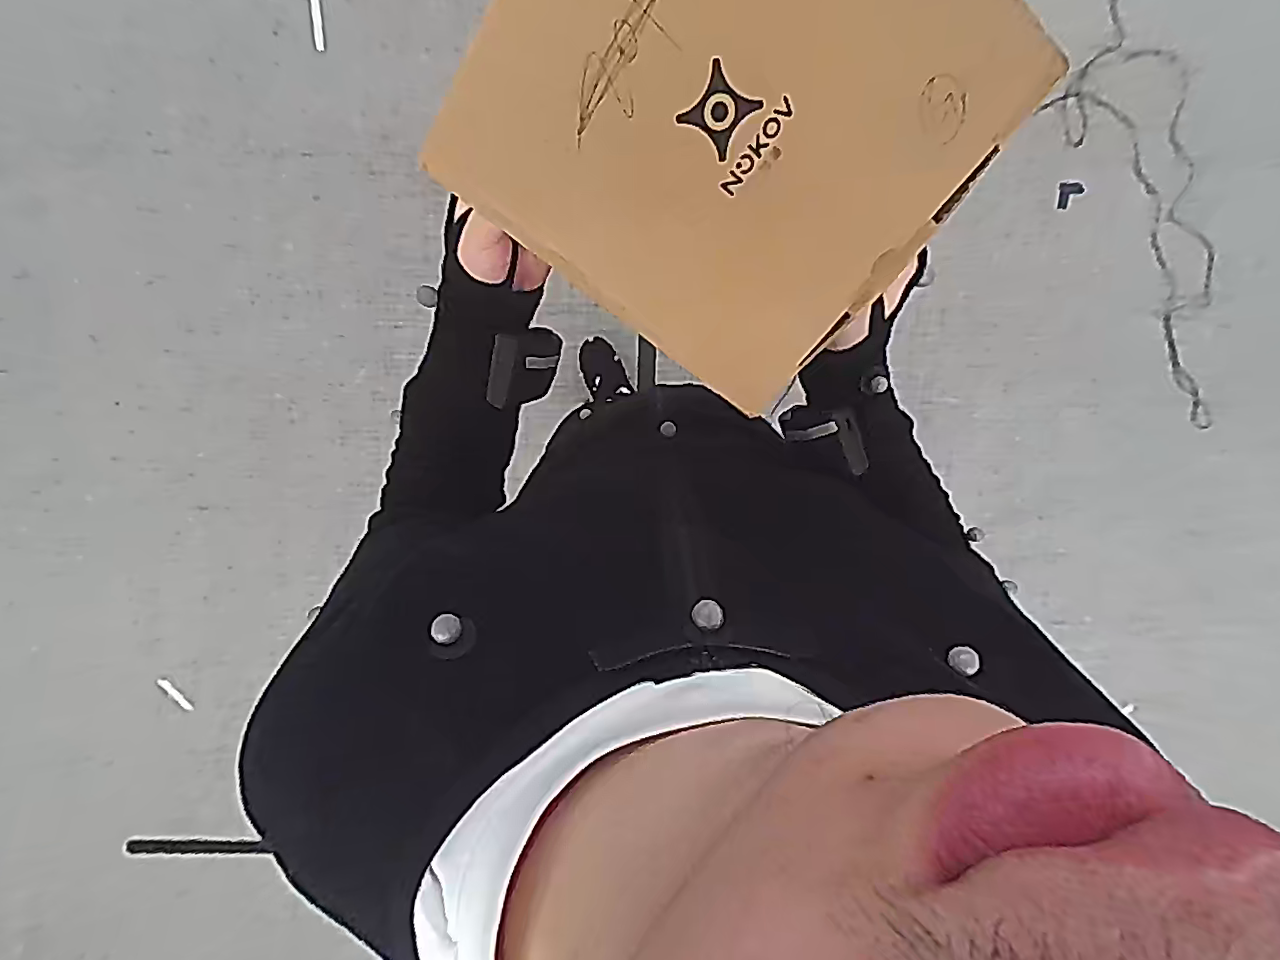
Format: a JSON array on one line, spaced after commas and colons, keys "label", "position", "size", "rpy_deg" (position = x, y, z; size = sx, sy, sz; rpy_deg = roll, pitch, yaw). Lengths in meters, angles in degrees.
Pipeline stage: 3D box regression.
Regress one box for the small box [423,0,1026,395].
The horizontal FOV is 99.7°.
[{"label": "small box", "position": [0.031, -0.179, 0.279], "size": [0.179, 0.176, 0.168], "rpy_deg": [34, 113, -14]}]
